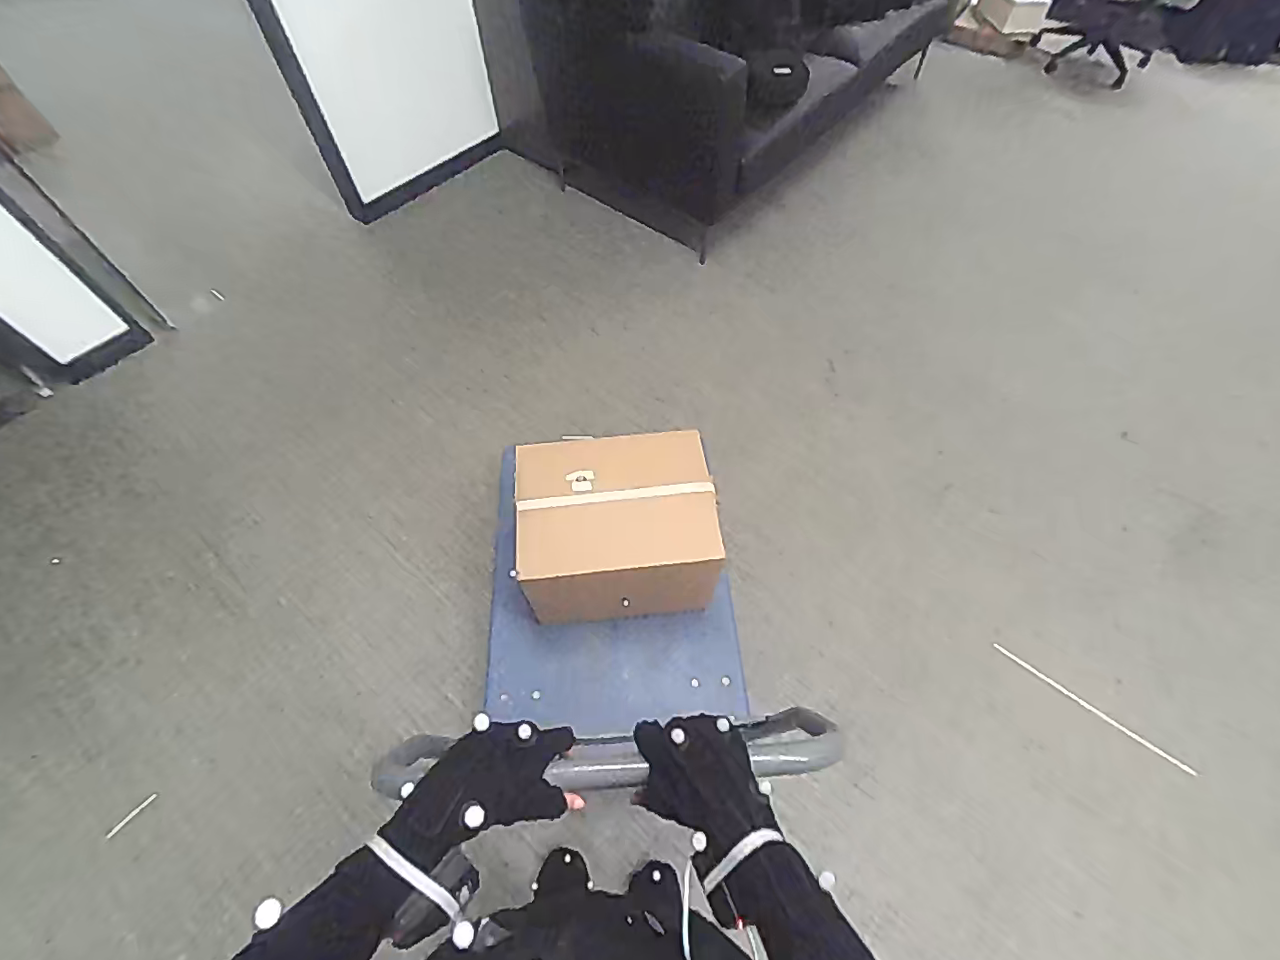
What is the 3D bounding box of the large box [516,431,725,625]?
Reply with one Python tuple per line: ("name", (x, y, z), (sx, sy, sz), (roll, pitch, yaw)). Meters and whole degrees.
("large box", (-0.049, 0.119, 1.236), (0.408, 0.320, 0.320), (-6, 58, -4))
